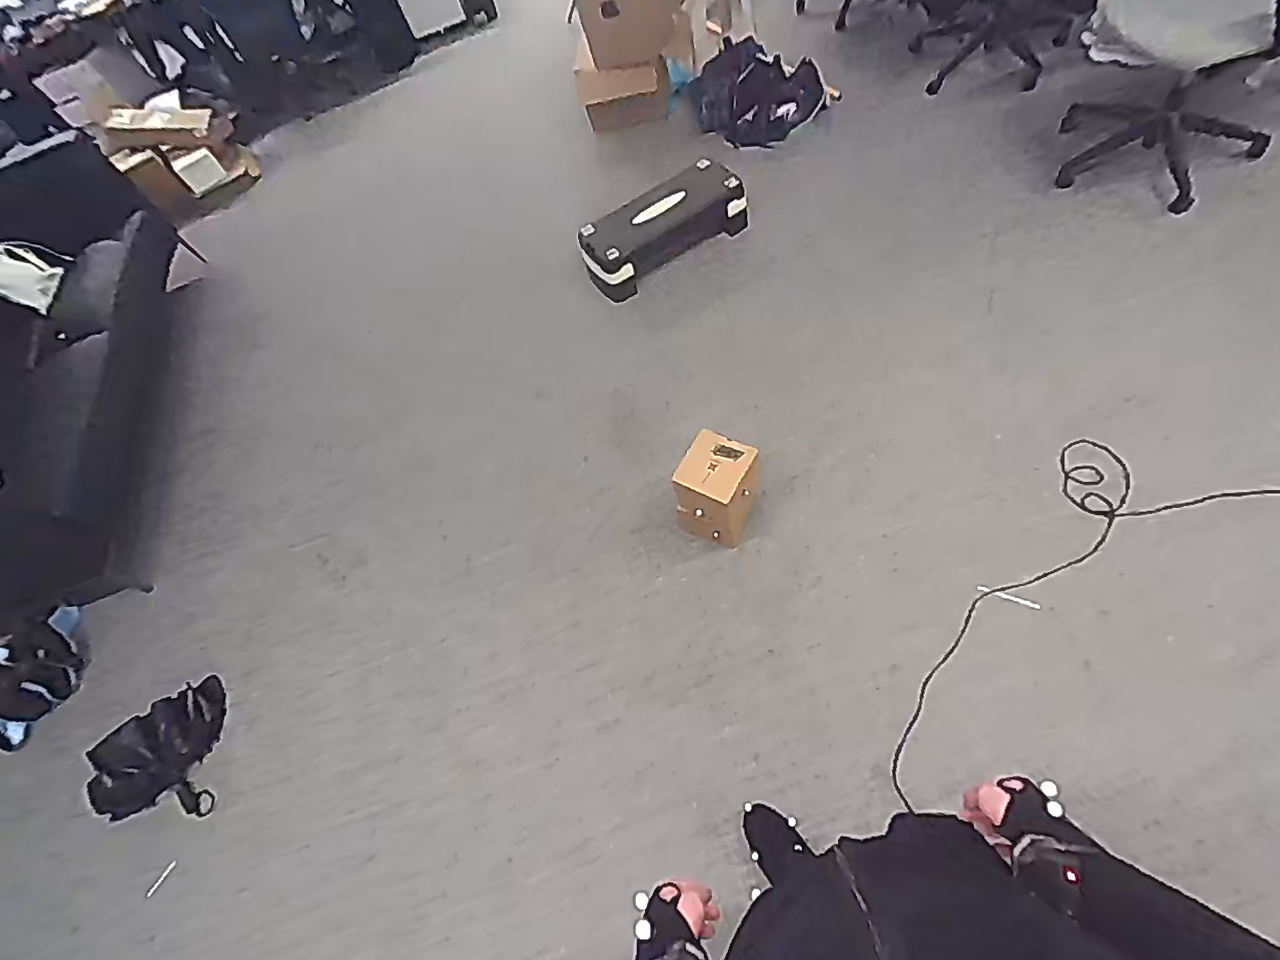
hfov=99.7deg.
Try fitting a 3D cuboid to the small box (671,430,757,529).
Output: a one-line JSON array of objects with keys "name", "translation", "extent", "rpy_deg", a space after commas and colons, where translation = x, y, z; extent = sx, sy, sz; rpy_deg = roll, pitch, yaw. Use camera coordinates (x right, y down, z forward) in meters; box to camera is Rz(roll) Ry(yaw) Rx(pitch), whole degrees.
[{"name": "small box", "translation": [0.203, 0.003, 1.457], "extent": [0.168, 0.176, 0.179], "rpy_deg": [25, 71, 24]}]

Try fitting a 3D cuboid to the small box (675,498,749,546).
[{"name": "small box", "translation": [0.221, 0.074, 1.605], "extent": [0.168, 0.176, 0.179], "rpy_deg": [17, 66, 21]}]
